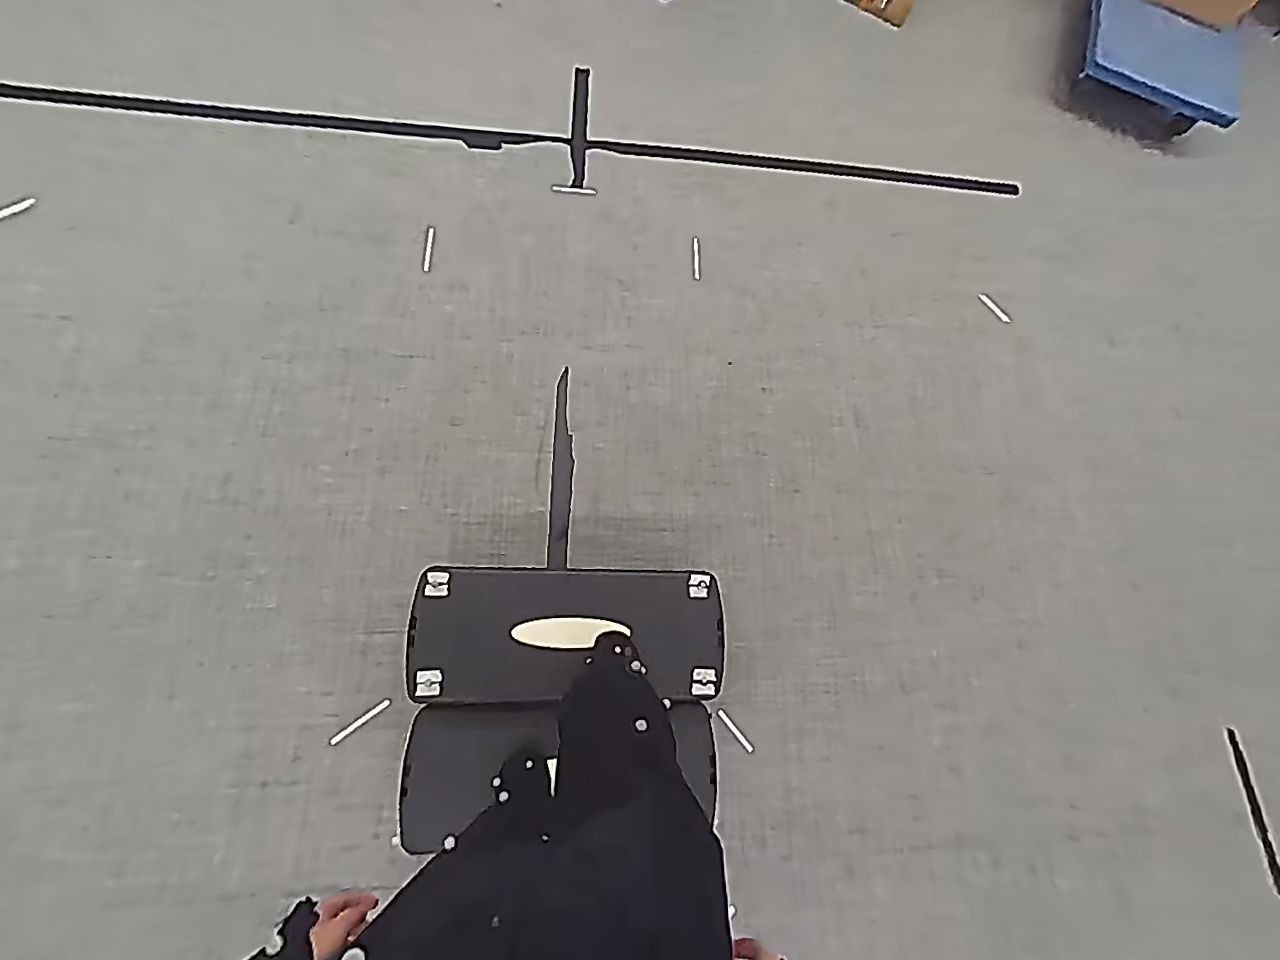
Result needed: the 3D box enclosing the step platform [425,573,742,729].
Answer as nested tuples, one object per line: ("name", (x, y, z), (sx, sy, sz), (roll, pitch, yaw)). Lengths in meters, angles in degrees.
("step platform", (-0.116, 0.385, 1.221), (0.684, 0.204, 0.286), (7, 71, -6))
